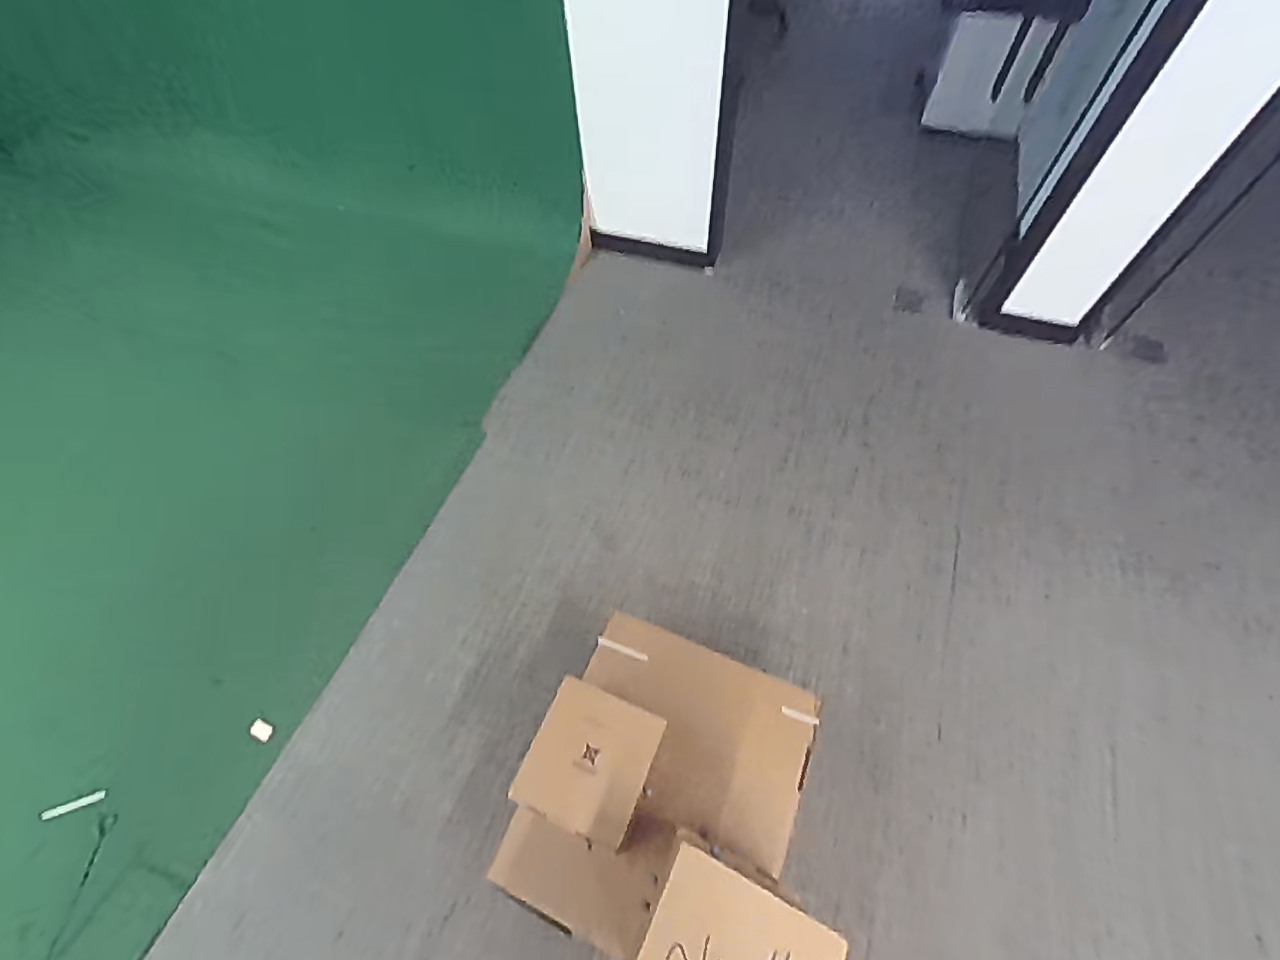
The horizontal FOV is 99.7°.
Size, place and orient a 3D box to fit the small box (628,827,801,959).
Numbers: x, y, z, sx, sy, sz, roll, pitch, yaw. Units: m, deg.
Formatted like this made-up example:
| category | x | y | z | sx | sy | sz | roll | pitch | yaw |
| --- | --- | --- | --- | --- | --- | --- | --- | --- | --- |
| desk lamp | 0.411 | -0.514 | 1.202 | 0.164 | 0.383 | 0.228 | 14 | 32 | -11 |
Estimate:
| category | x | y | z | sx | sy | sz | roll | pitch | yaw |
| --- | --- | --- | --- | --- | --- | --- | --- | --- | --- |
| small box | 0.088 | 0.586 | 0.703 | 0.168 | 0.176 | 0.179 | 22 | 59 | 15 |

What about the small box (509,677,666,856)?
| category | x | y | z | sx | sy | sz | roll | pitch | yaw |
| --- | --- | --- | --- | --- | --- | --- | --- | --- | --- |
| small box | -0.067 | 0.432 | 0.813 | 0.168 | 0.176 | 0.179 | 20 | 58 | 14 |
